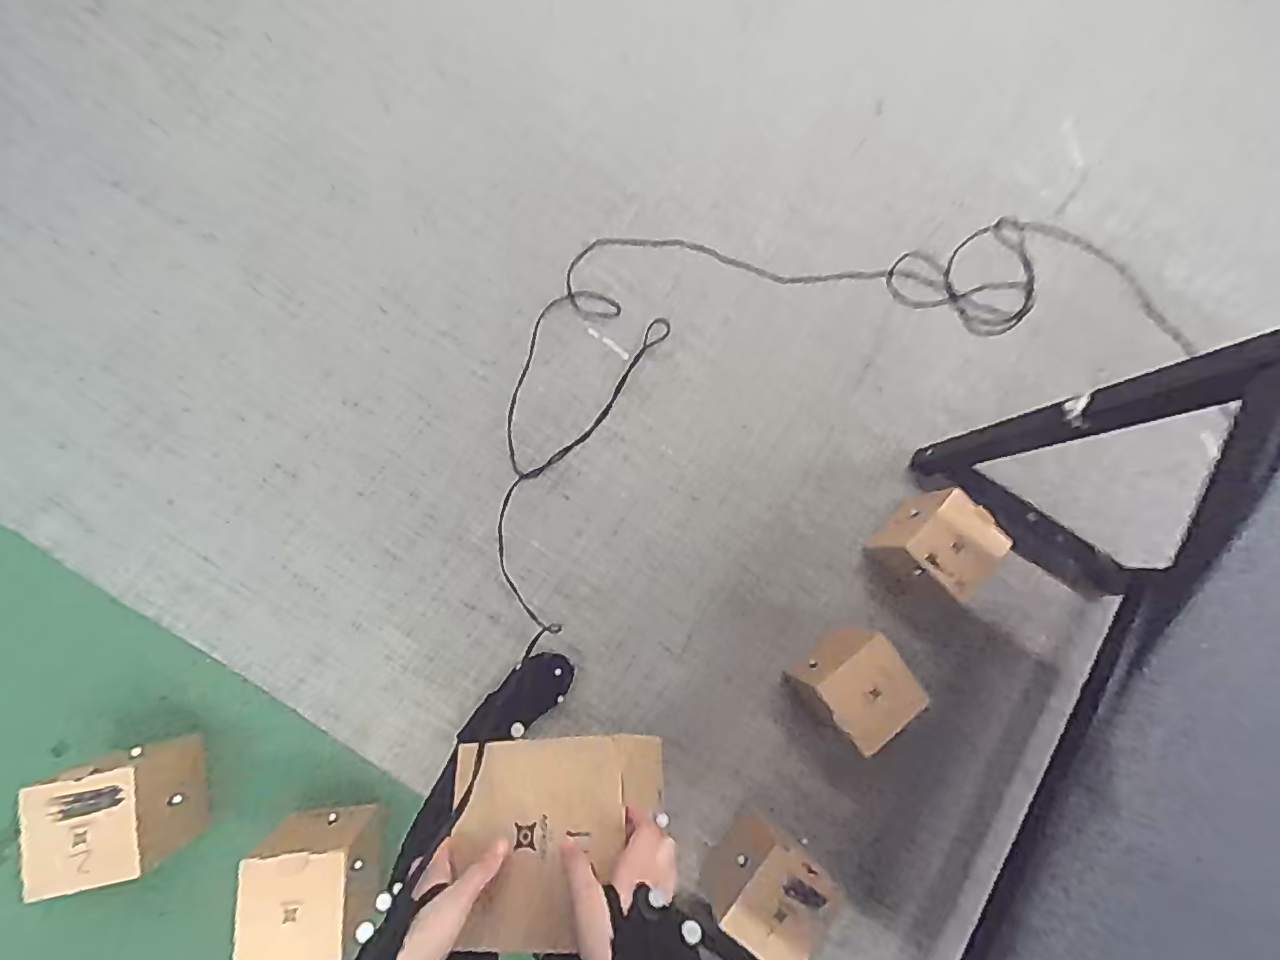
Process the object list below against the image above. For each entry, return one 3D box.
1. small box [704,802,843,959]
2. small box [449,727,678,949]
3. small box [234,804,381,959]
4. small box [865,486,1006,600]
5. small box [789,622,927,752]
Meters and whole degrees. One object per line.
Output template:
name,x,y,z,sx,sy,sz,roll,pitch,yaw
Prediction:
small box,0.243,0.767,1.036,0.168,0.176,0.179,39,80,1
small box,-0.067,0.354,0.562,0.179,0.176,0.168,-9,63,12
small box,-0.572,0.706,0.953,0.168,0.176,0.179,-1,81,-7
small box,0.631,0.138,1.177,0.179,0.176,0.168,-44,88,-12
small box,0.432,0.413,1.113,0.179,0.176,0.168,-36,88,-12
